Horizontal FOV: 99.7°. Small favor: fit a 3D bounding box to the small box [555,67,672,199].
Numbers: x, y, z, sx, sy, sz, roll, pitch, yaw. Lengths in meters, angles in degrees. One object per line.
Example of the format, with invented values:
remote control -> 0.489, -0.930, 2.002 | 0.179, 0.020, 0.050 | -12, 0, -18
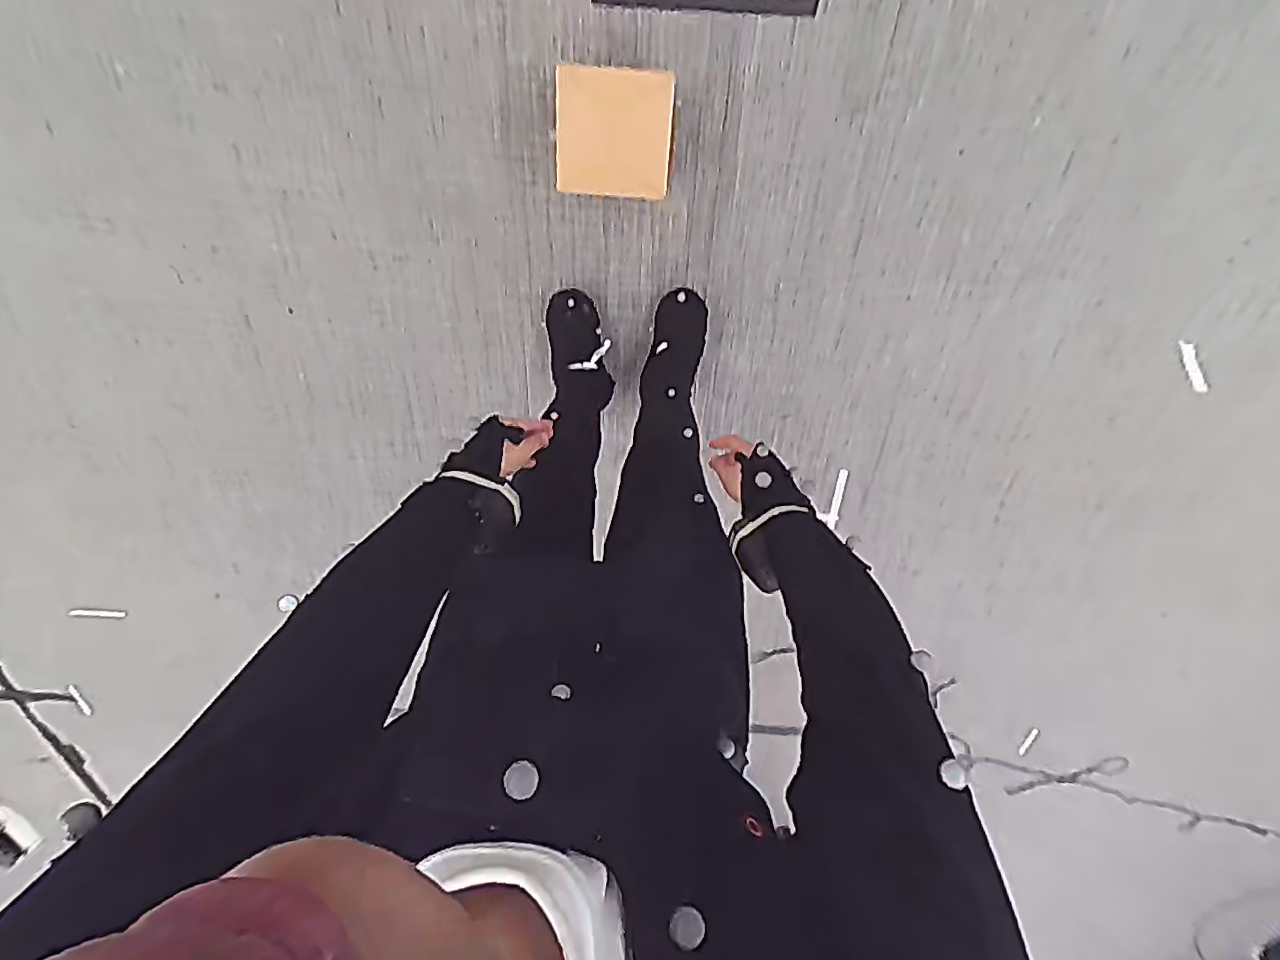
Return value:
small box -> -0.040, -0.565, 0.892 | 0.179, 0.176, 0.168 | 3, 121, -3
